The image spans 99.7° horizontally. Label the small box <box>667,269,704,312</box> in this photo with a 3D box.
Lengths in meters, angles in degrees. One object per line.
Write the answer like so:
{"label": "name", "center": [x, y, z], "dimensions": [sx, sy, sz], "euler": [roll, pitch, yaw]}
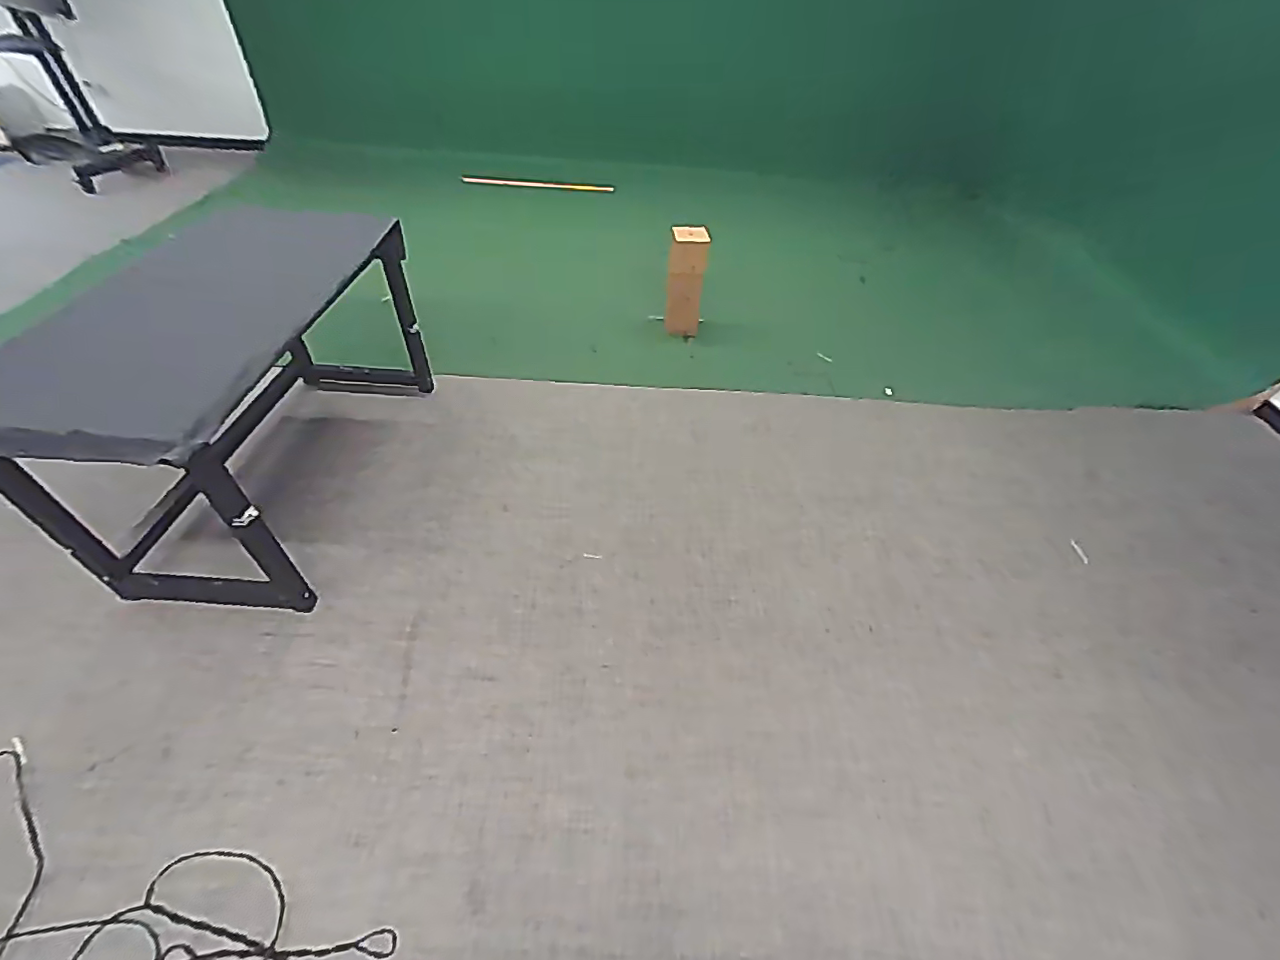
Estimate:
{"label": "small box", "center": [0.233, -0.989, 2.792], "dimensions": [0.168, 0.176, 0.179], "euler": [1, 44, -3]}

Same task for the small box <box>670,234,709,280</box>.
{"label": "small box", "center": [0.242, -1.102, 2.676], "dimensions": [0.168, 0.176, 0.179], "euler": [-1, 44, -5]}
